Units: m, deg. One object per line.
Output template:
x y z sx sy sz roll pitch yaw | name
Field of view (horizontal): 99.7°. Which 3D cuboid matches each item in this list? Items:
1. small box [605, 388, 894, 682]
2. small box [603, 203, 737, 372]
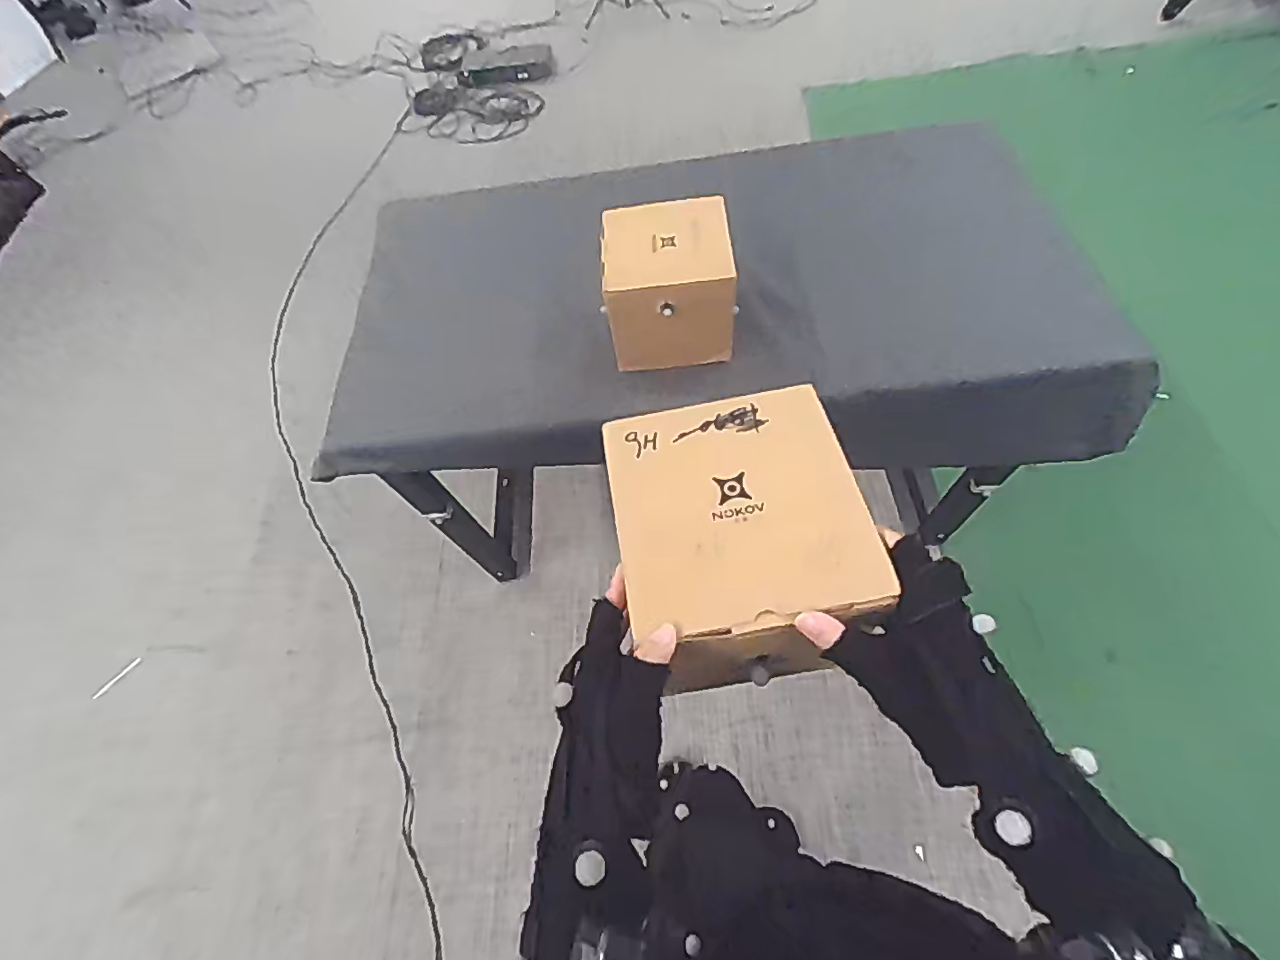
0.073 0.056 0.439 0.168 0.176 0.179 -10 59 0 | small box
0.045 -0.277 0.804 0.179 0.176 0.168 -5 62 3 | small box
